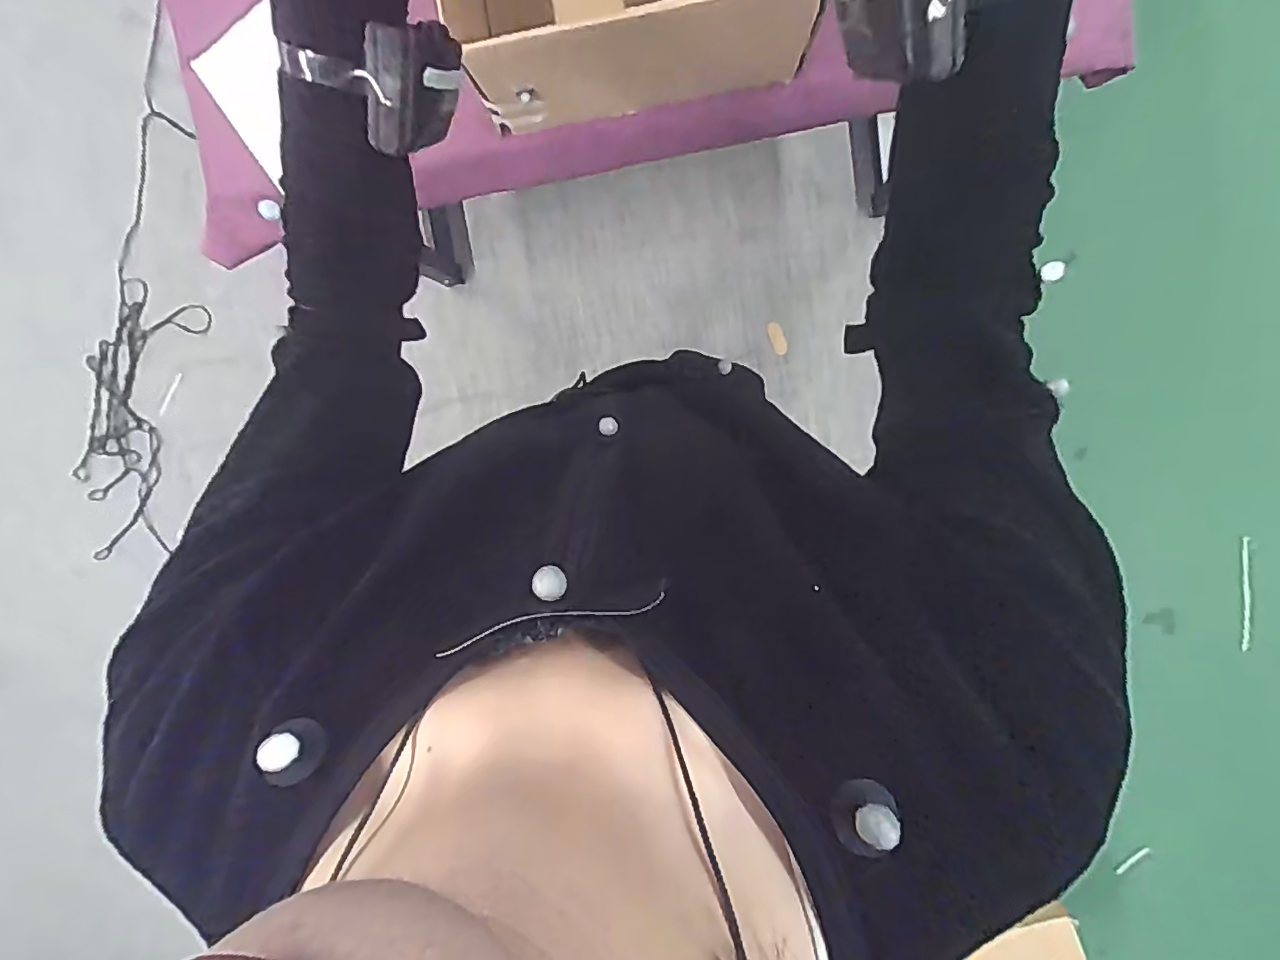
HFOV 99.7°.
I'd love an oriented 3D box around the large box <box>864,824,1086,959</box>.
[{"bbox_3d":[0.886,1.212,1.438,0.408,0.320,0.320,-23,96,7],"label":"large box"}]
